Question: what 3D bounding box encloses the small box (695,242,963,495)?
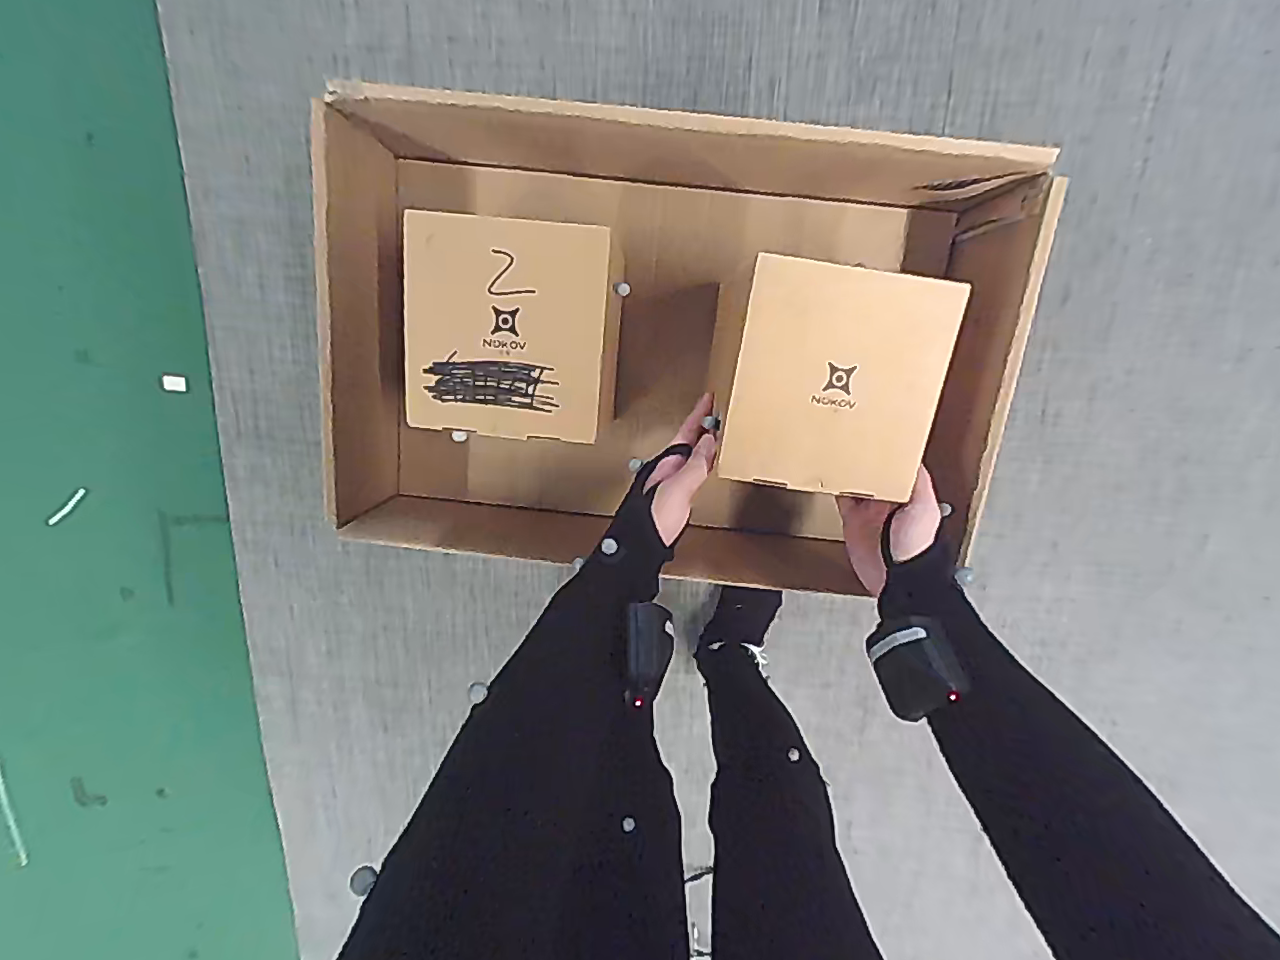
[{"bbox_3d":[0.148,-0.101,0.494,0.168,0.176,0.179,7,105,-2],"label":"small box"}]
